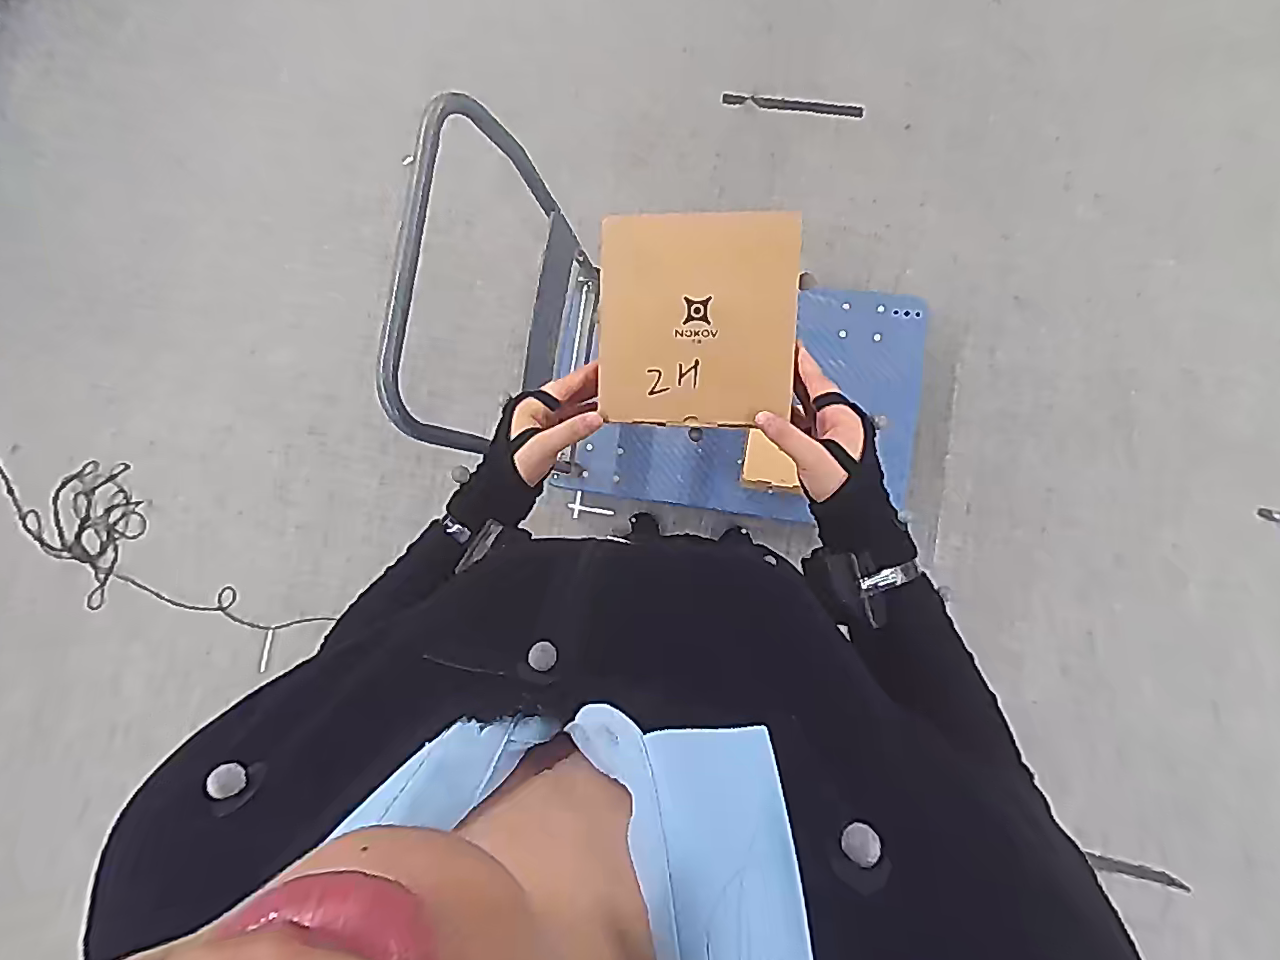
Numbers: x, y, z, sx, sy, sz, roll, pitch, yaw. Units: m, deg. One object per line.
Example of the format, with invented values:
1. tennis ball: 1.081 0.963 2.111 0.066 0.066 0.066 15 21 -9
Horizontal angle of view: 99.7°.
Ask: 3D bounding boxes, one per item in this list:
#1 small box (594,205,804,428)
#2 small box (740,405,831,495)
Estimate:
1. small box: 0.056 -0.142 0.524 0.168 0.176 0.179 3 96 8
2. small box: 0.318 -0.067 1.217 0.168 0.176 0.179 8 87 8
